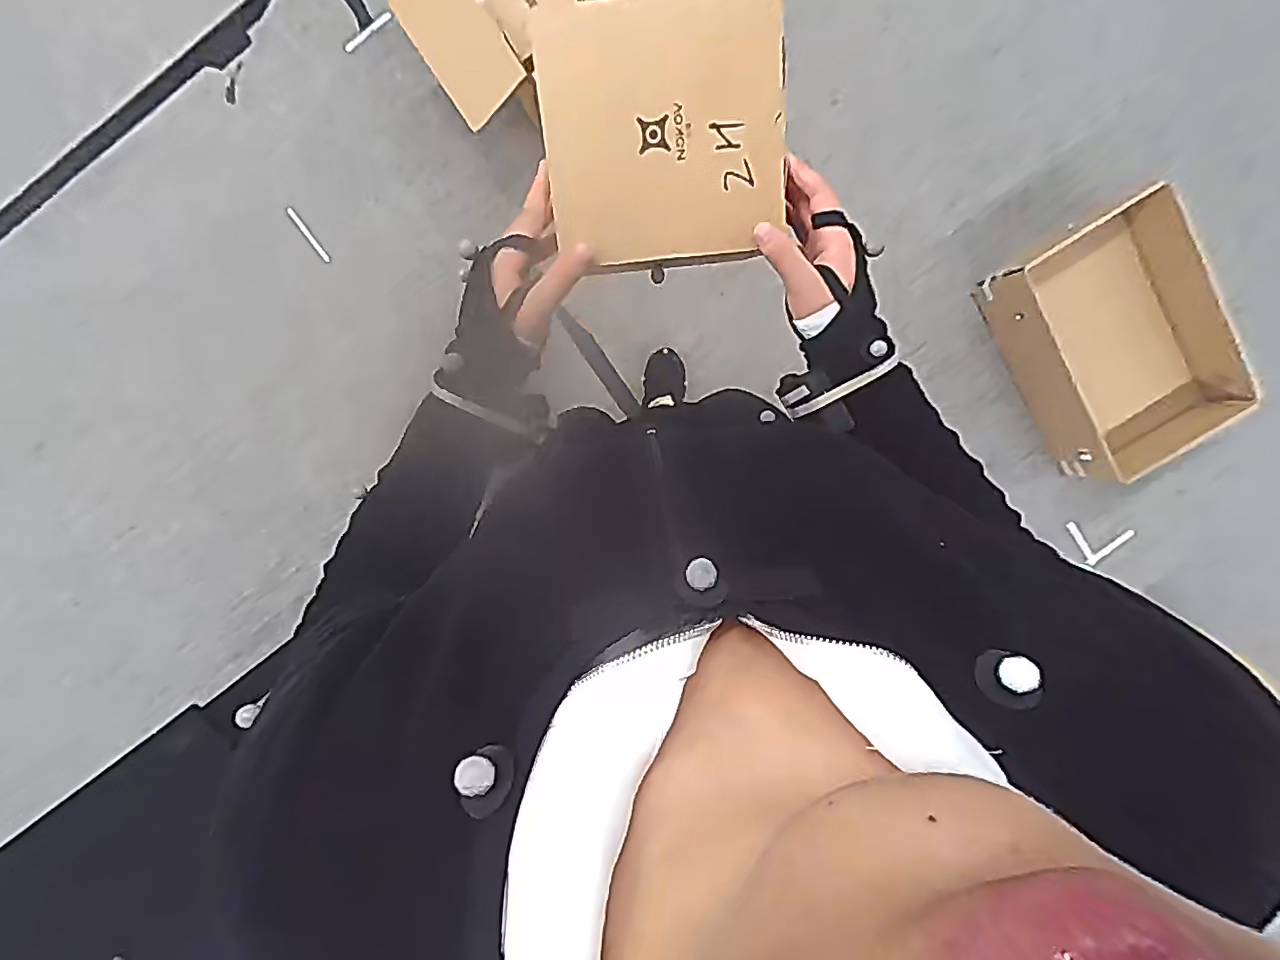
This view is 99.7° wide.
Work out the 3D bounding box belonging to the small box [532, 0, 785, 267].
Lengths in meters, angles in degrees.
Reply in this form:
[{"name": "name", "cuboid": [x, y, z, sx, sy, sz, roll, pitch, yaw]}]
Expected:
[{"name": "small box", "cuboid": [0.017, -0.281, 0.467, 0.179, 0.176, 0.168, -6, 110, 0]}]
